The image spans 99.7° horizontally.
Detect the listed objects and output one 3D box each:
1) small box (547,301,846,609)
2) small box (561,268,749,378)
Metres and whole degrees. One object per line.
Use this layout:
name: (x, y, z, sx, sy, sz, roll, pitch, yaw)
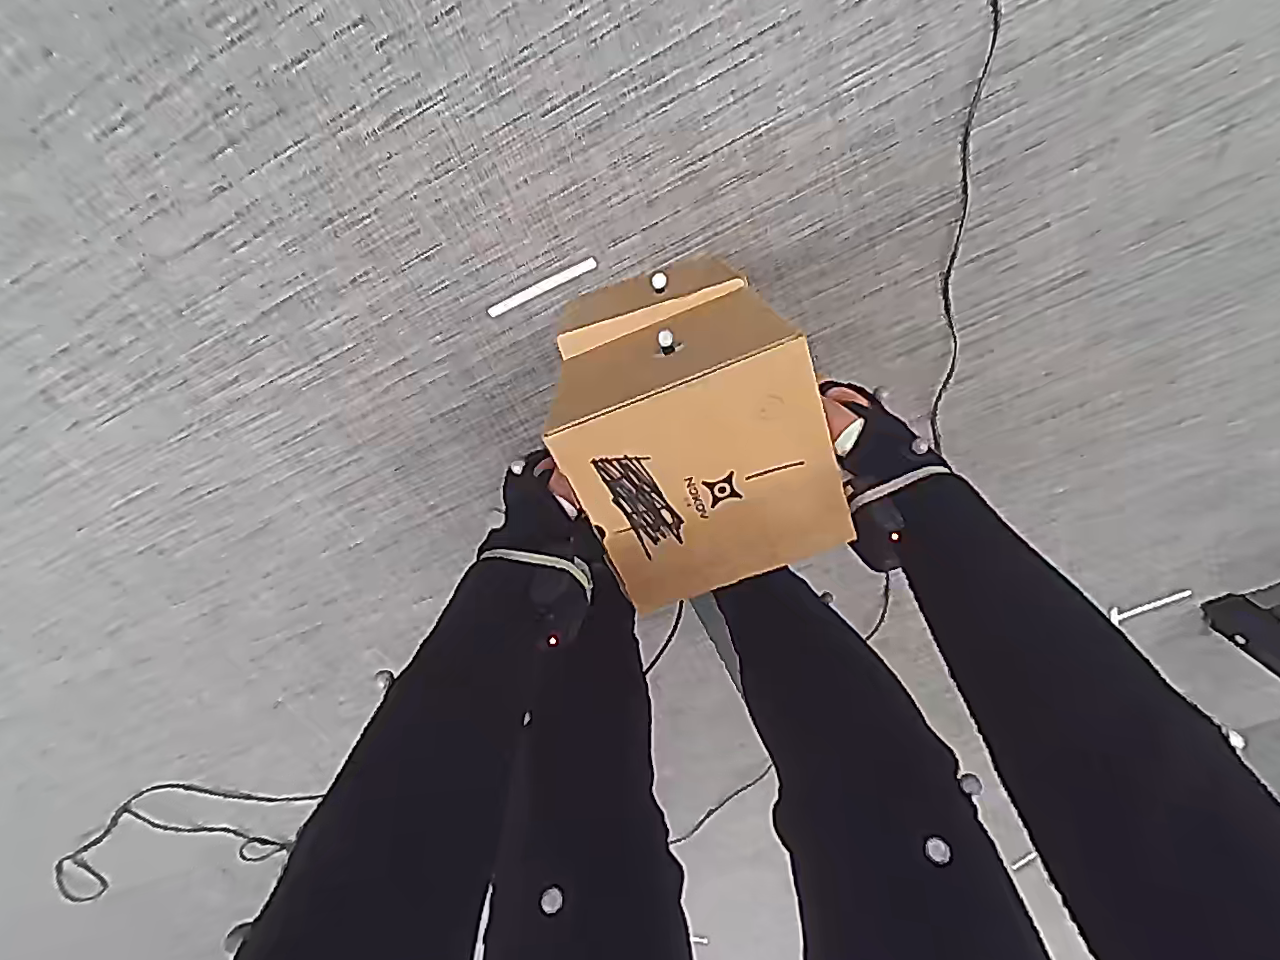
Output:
small box: (0.043, -0.029, 0.450, 0.179, 0.176, 0.168, -20, 118, 8)
small box: (0.025, -0.119, 0.588, 0.179, 0.176, 0.168, -16, 118, 5)
